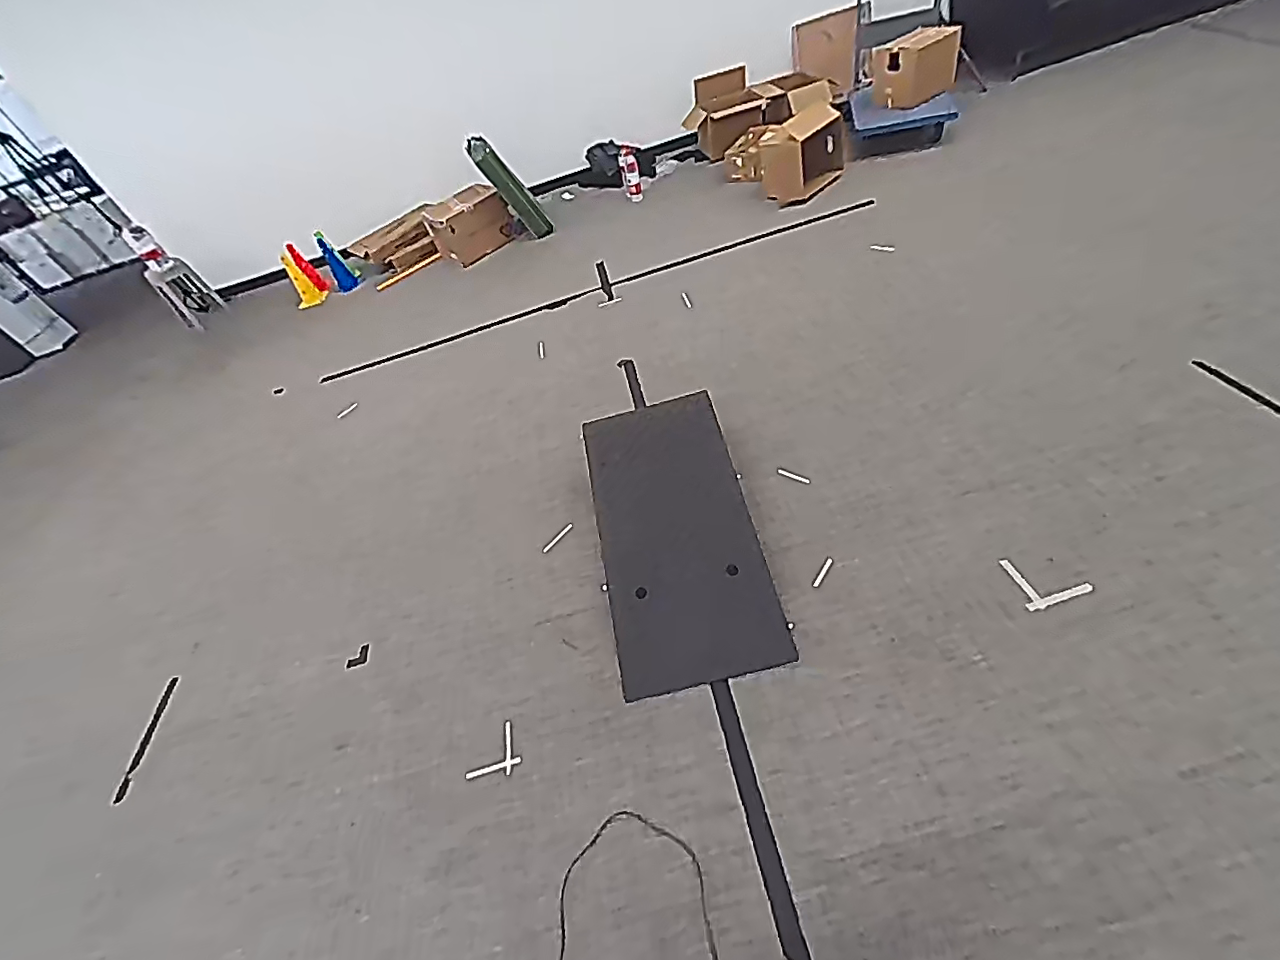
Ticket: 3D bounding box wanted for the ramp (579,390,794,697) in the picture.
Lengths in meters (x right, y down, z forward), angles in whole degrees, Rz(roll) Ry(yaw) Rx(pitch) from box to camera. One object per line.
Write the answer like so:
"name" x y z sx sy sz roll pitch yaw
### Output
"ramp" 0.099 0.136 1.751 0.509 0.206 0.991 -16 46 2
